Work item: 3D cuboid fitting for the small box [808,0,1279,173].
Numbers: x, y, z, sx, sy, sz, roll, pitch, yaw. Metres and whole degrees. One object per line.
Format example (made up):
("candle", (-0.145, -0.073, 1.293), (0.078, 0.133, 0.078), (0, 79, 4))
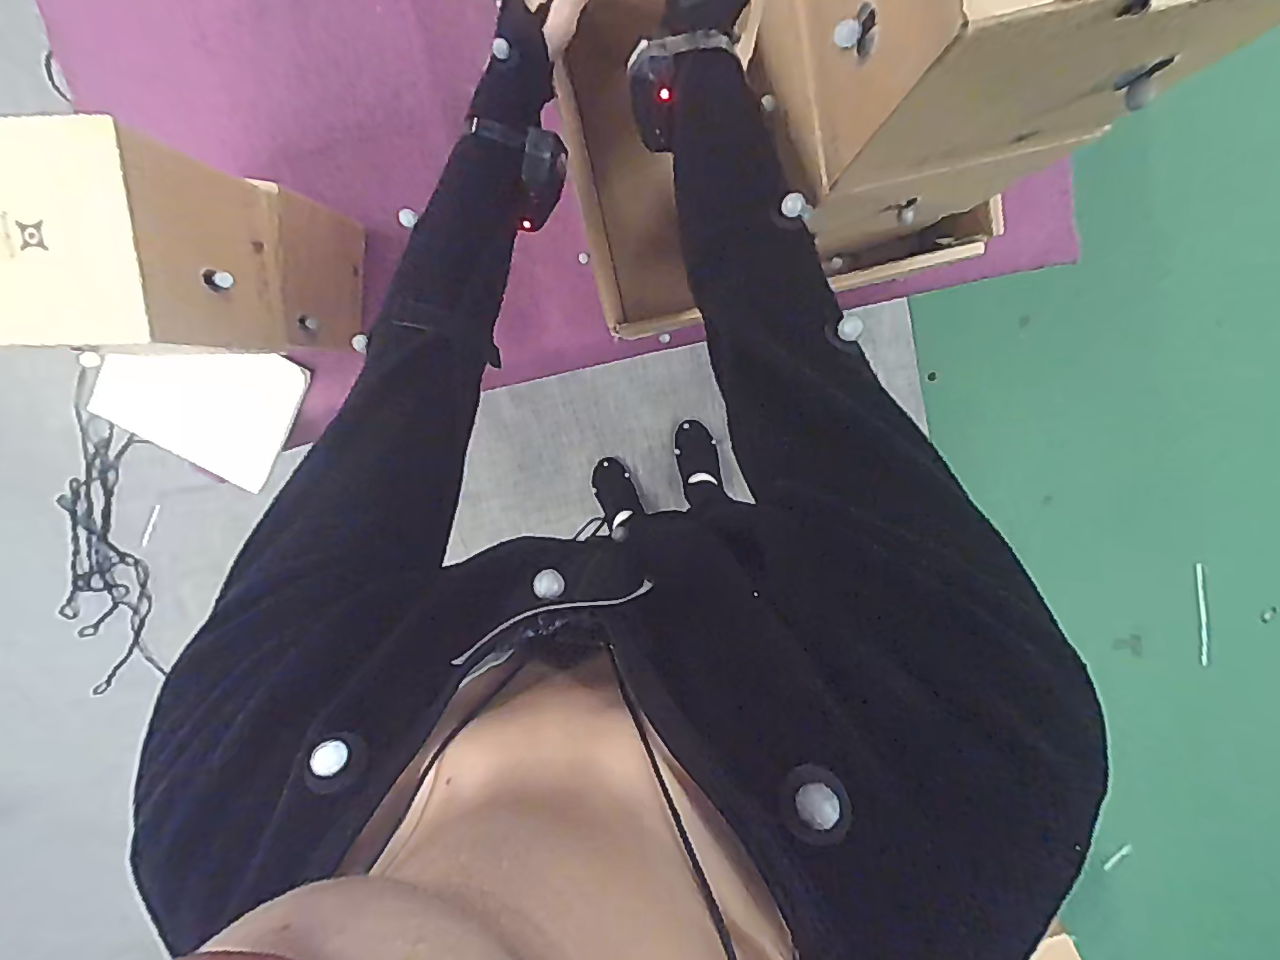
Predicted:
("small box", (0.179, -0.264, 0.243), (0.168, 0.176, 0.179), (-10, 99, 5))

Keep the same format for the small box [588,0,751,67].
("small box", (0.022, -0.553, 0.525), (0.168, 0.176, 0.179), (-6, 102, 7))

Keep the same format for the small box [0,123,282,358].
("small box", (-0.464, -0.200, 0.495), (0.179, 0.176, 0.168), (0, 101, 3))

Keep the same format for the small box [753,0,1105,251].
("small box", (0.192, -0.288, 0.404), (0.179, 0.176, 0.168), (-10, 100, 6))
